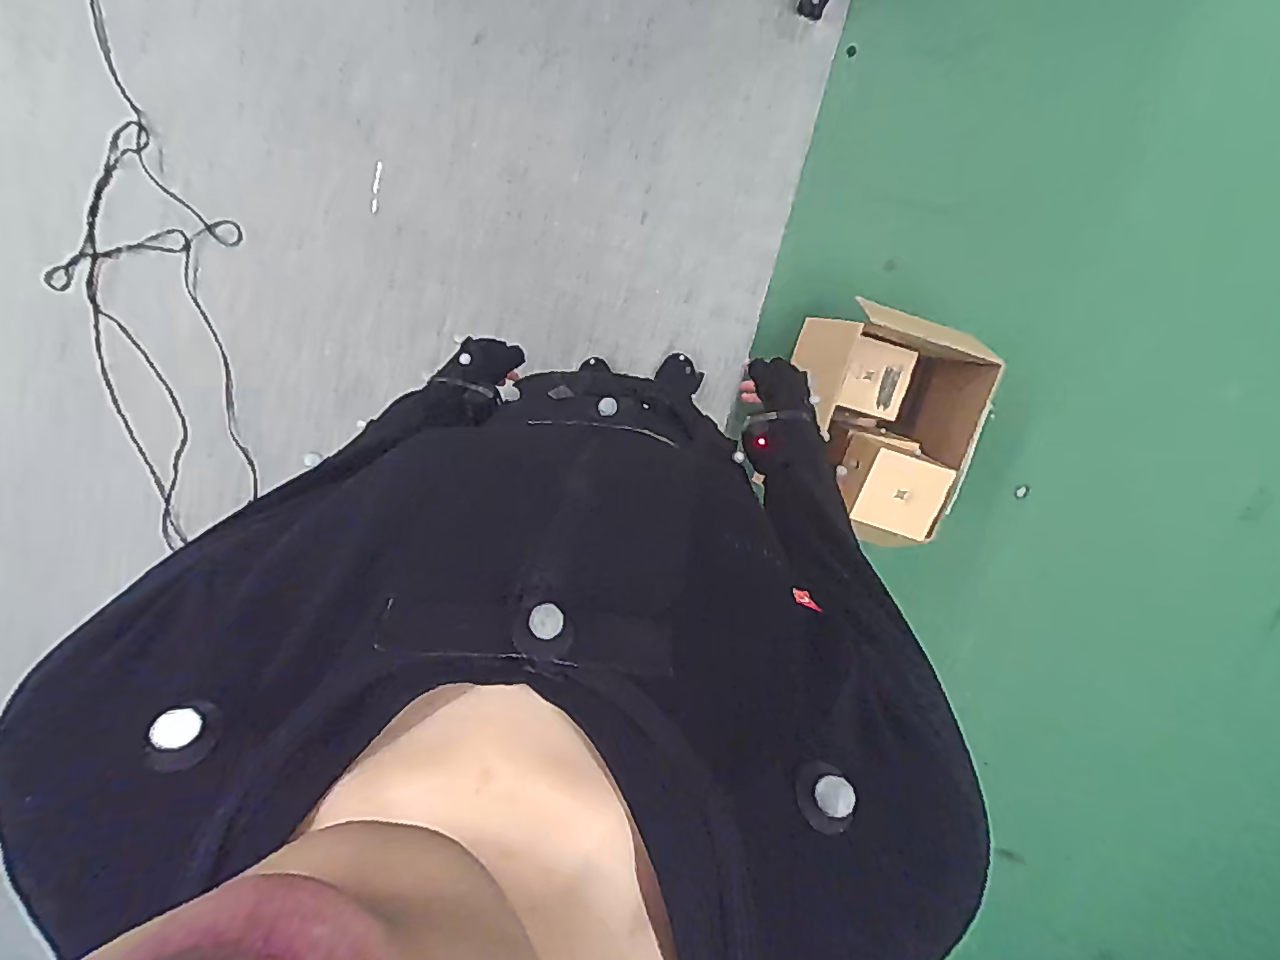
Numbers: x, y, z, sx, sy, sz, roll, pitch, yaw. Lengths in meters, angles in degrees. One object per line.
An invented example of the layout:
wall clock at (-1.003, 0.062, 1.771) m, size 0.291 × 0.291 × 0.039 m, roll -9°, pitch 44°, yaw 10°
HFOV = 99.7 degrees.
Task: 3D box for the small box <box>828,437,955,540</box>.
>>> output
small box at (0.548, 0.010, 1.208) m, size 0.179 × 0.176 × 0.168 m, roll 17°, pitch 105°, yaw -4°
